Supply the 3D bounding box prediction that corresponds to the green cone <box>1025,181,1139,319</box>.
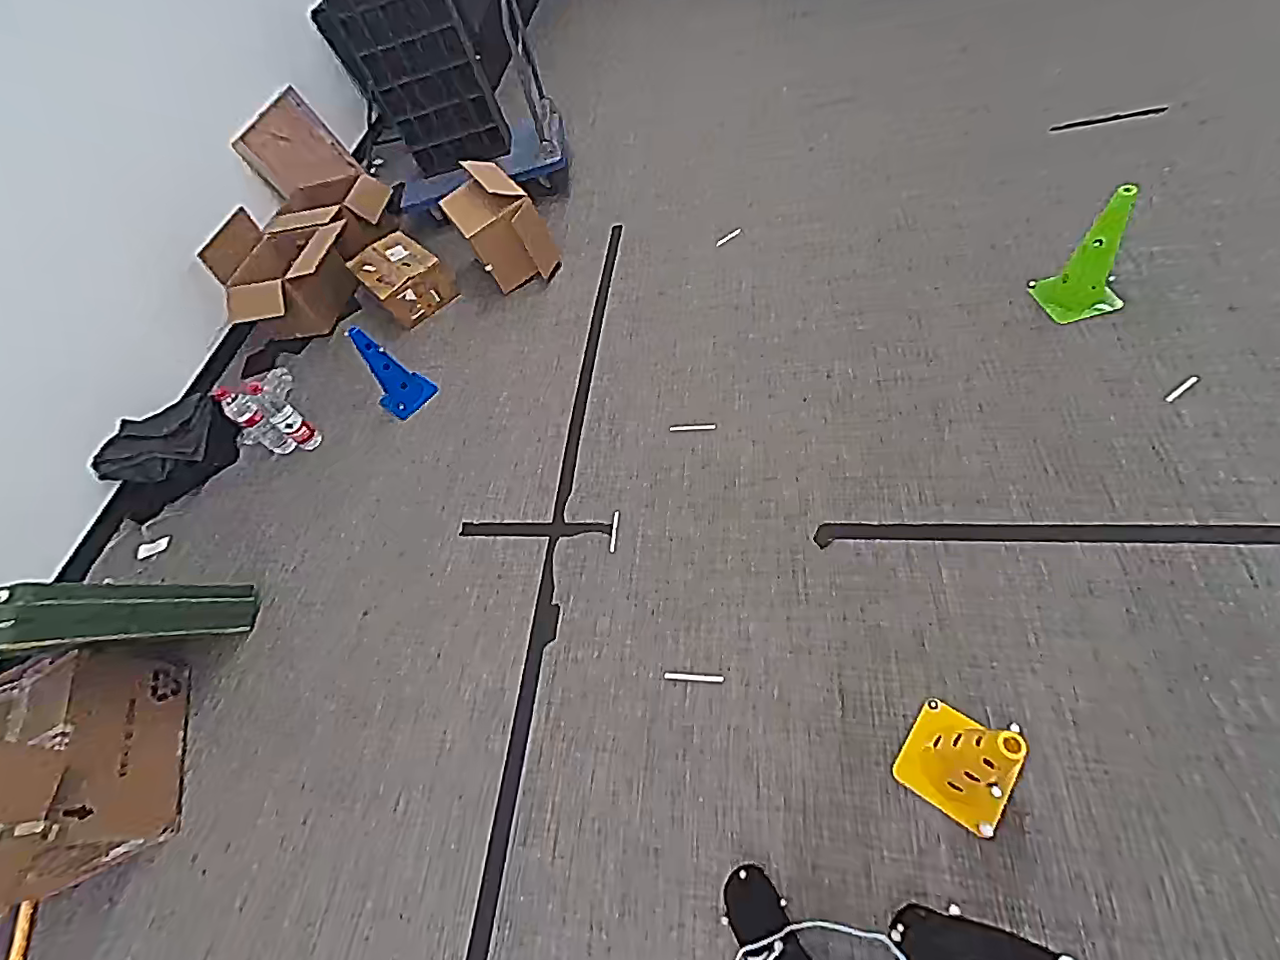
[{"bbox_3d":[1.341,-0.687,1.586,0.202,0.368,0.200,-15,56,5],"label":"green cone"}]
